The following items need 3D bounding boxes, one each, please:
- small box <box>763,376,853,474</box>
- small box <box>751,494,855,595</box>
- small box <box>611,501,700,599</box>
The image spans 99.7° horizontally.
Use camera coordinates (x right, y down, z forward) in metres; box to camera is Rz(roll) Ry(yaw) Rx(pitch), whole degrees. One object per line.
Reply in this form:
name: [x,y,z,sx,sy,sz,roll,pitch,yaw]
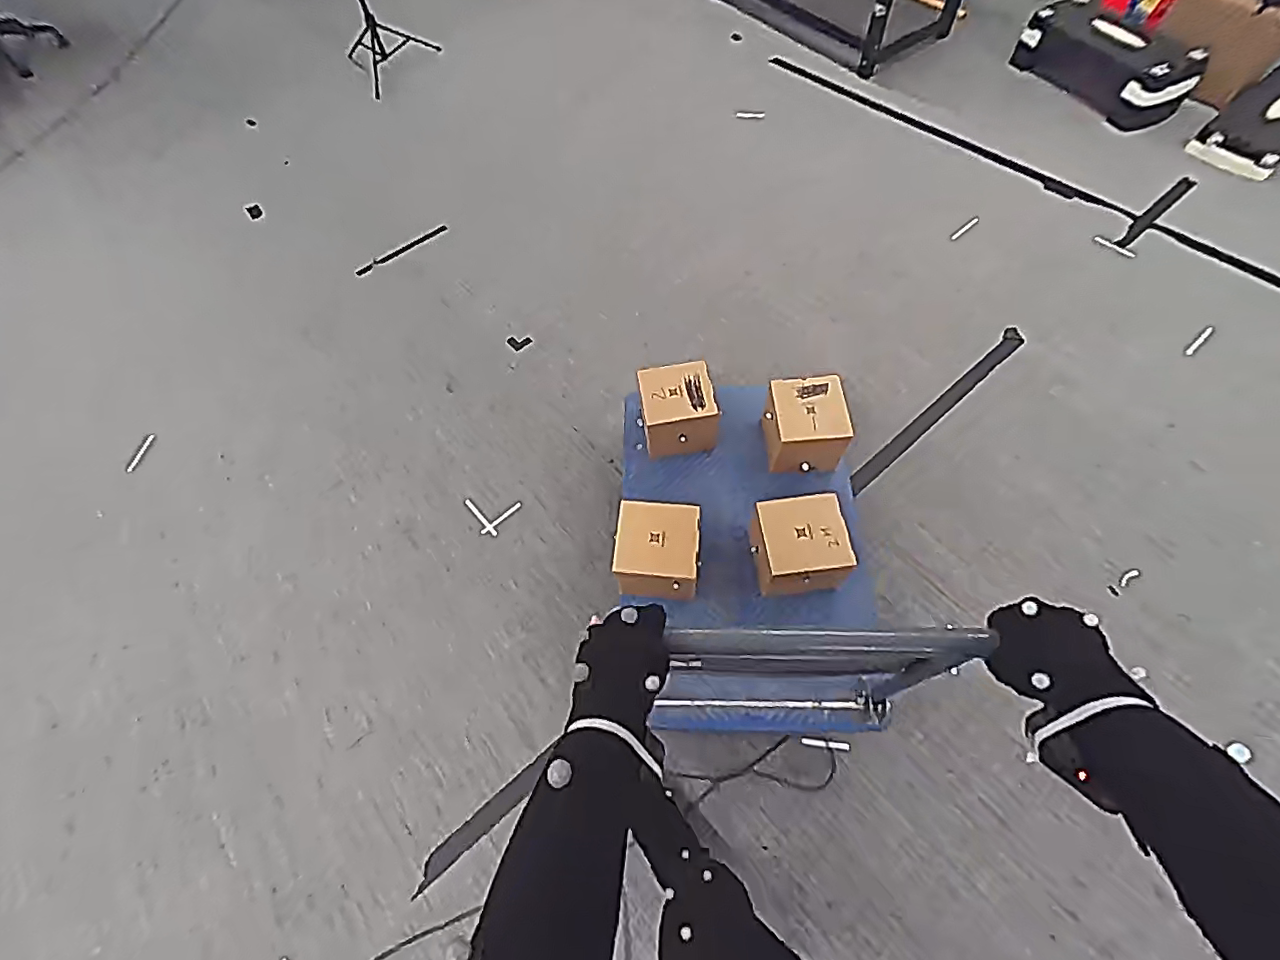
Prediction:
small box: [0.403,-0.133,1.329,0.168,0.176,0.179,-4,64,3]
small box: [0.346,0.147,1.192,0.179,0.176,0.168,-7,63,1]
small box: [0.039,0.160,1.211,0.179,0.176,0.168,4,63,5]
